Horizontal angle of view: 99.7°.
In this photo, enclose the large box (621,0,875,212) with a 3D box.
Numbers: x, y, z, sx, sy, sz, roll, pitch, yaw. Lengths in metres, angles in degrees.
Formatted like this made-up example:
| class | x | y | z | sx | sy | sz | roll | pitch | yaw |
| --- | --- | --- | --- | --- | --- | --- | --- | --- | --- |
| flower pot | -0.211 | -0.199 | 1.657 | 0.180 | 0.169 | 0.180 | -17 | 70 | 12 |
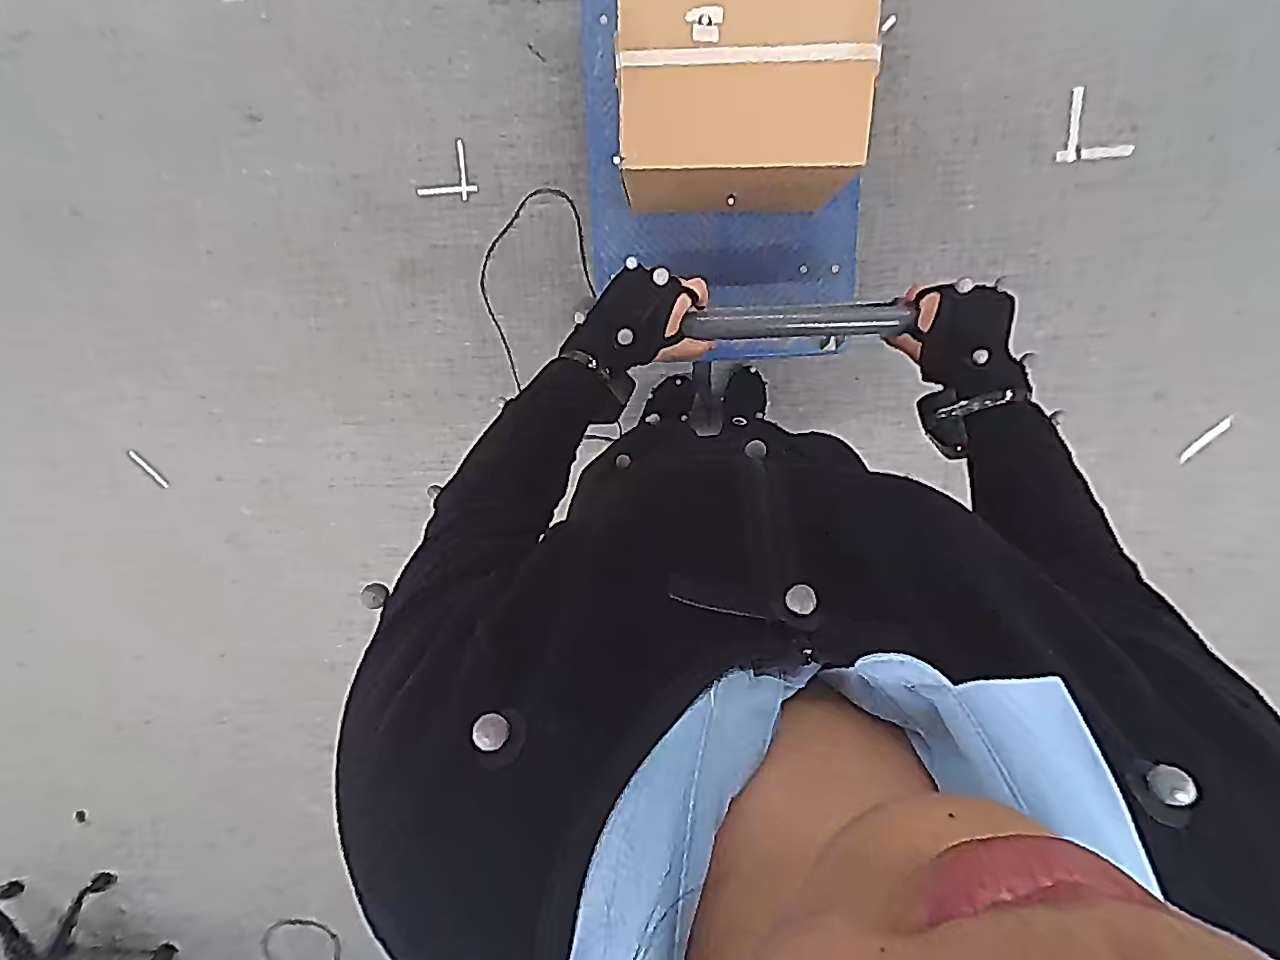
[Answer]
| class | x | y | z | sx | sy | sz | roll | pitch | yaw |
| --- | --- | --- | --- | --- | --- | --- | --- | --- | --- |
| large box | 0.179 | -0.706 | 1.012 | 0.408 | 0.320 | 0.320 | 1 | 103 | 4 |
